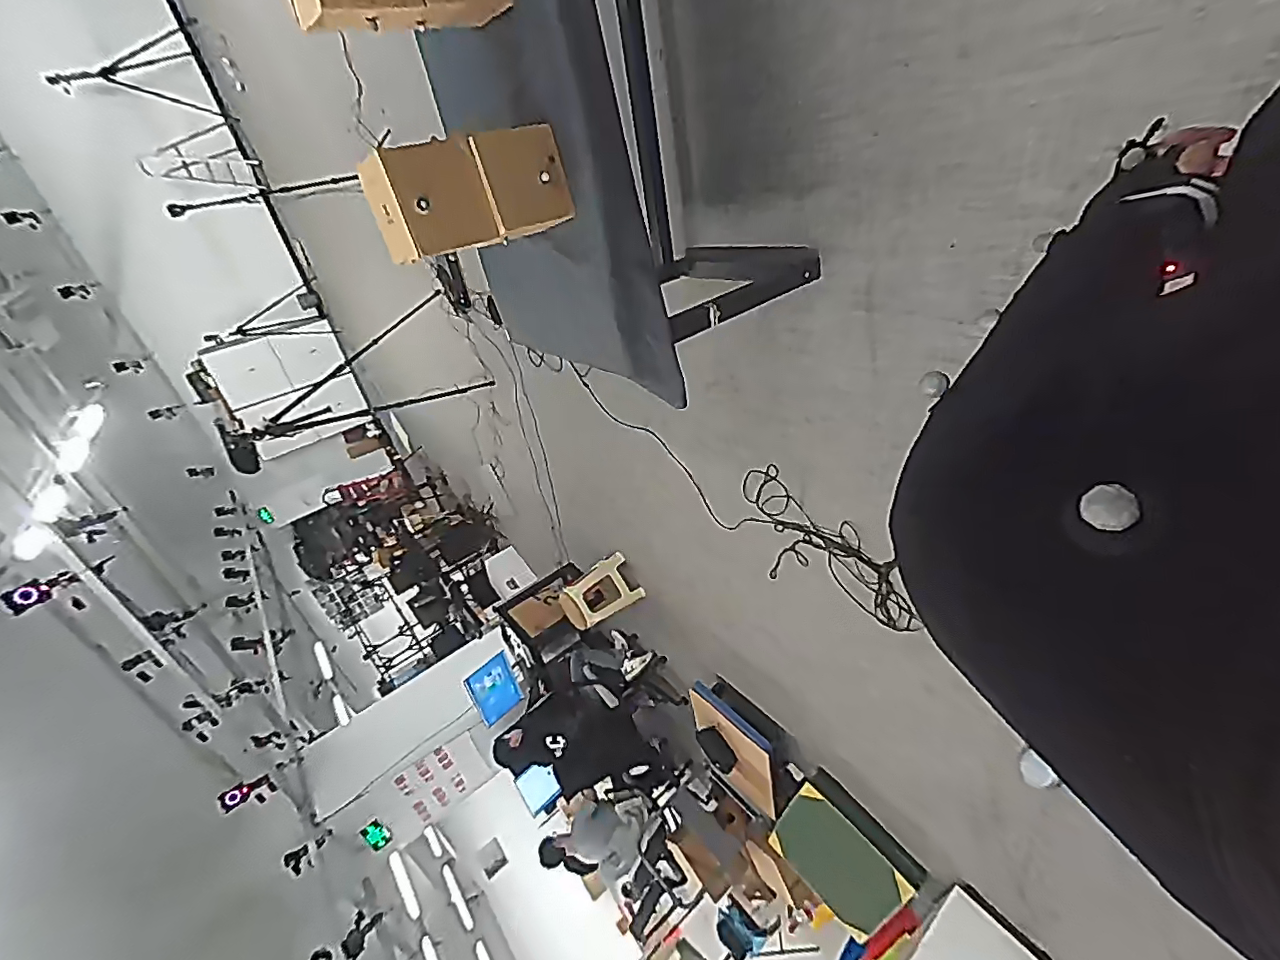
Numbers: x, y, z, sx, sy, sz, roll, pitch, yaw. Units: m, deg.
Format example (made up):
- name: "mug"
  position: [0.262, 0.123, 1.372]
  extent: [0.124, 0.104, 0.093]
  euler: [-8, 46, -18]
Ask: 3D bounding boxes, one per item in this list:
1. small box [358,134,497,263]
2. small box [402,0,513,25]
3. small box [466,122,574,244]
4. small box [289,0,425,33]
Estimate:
- name: "small box"
  position: [-0.393, -0.524, 1.018]
  extent: [0.168, 0.176, 0.179]
  euler: [20, 132, 49]
- name: "small box"
  position: [-0.340, -0.902, 0.916]
  extent: [0.168, 0.176, 0.179]
  euler: [28, 139, 45]
- name: "small box"
  position: [-0.259, -0.590, 1.084]
  extent: [0.179, 0.176, 0.168]
  euler: [16, 130, 52]
- name: "small box"
  position: [-0.470, -0.826, 0.841]
  extent: [0.168, 0.176, 0.179]
  euler: [29, 140, 45]
